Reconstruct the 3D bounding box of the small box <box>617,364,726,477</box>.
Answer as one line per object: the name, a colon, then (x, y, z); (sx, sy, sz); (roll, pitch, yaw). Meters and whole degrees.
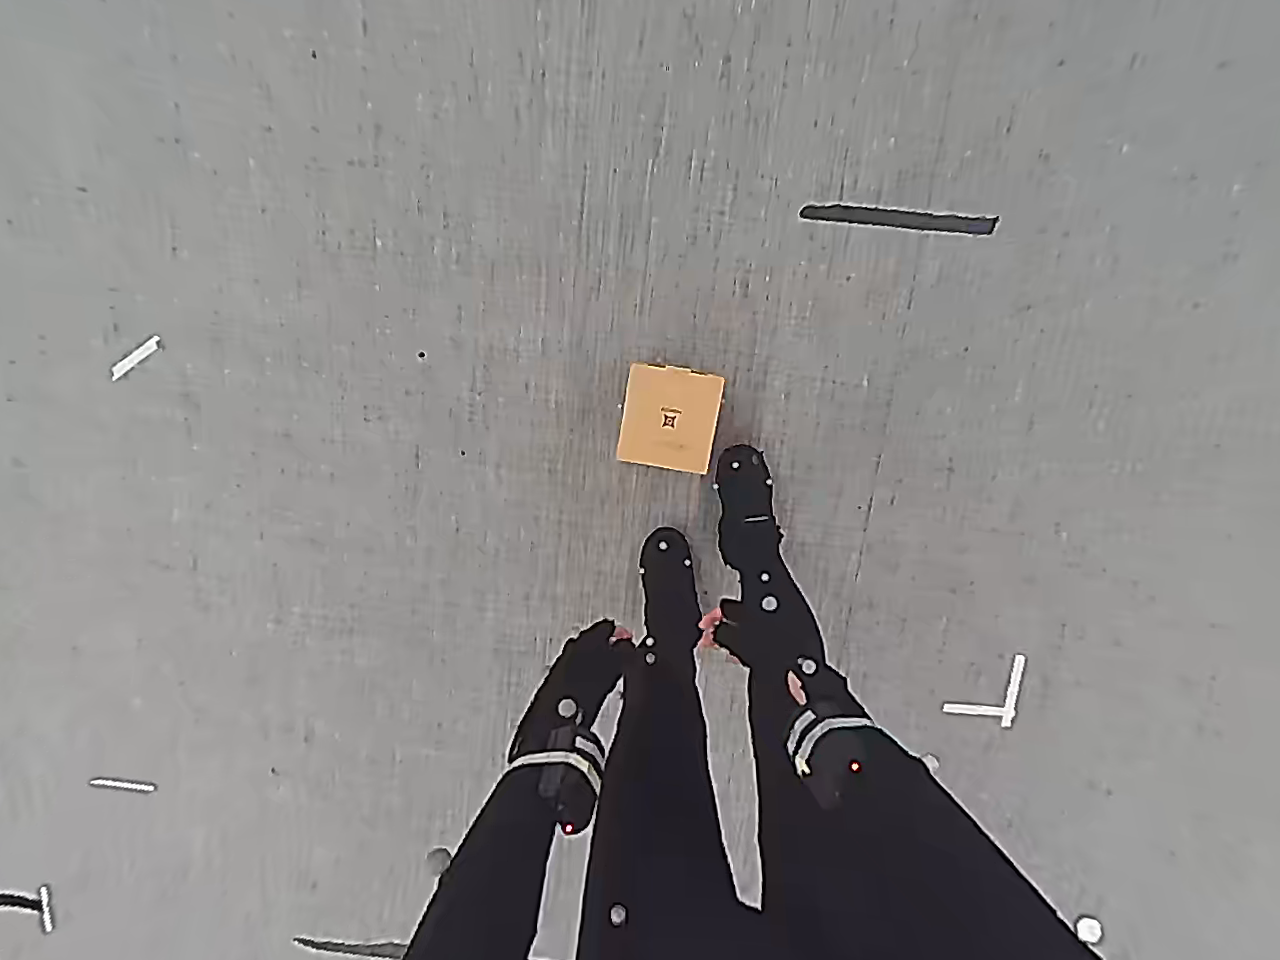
small box: (0.056, -0.116, 1.012); (0.168, 0.176, 0.179); (9, 102, 2)
